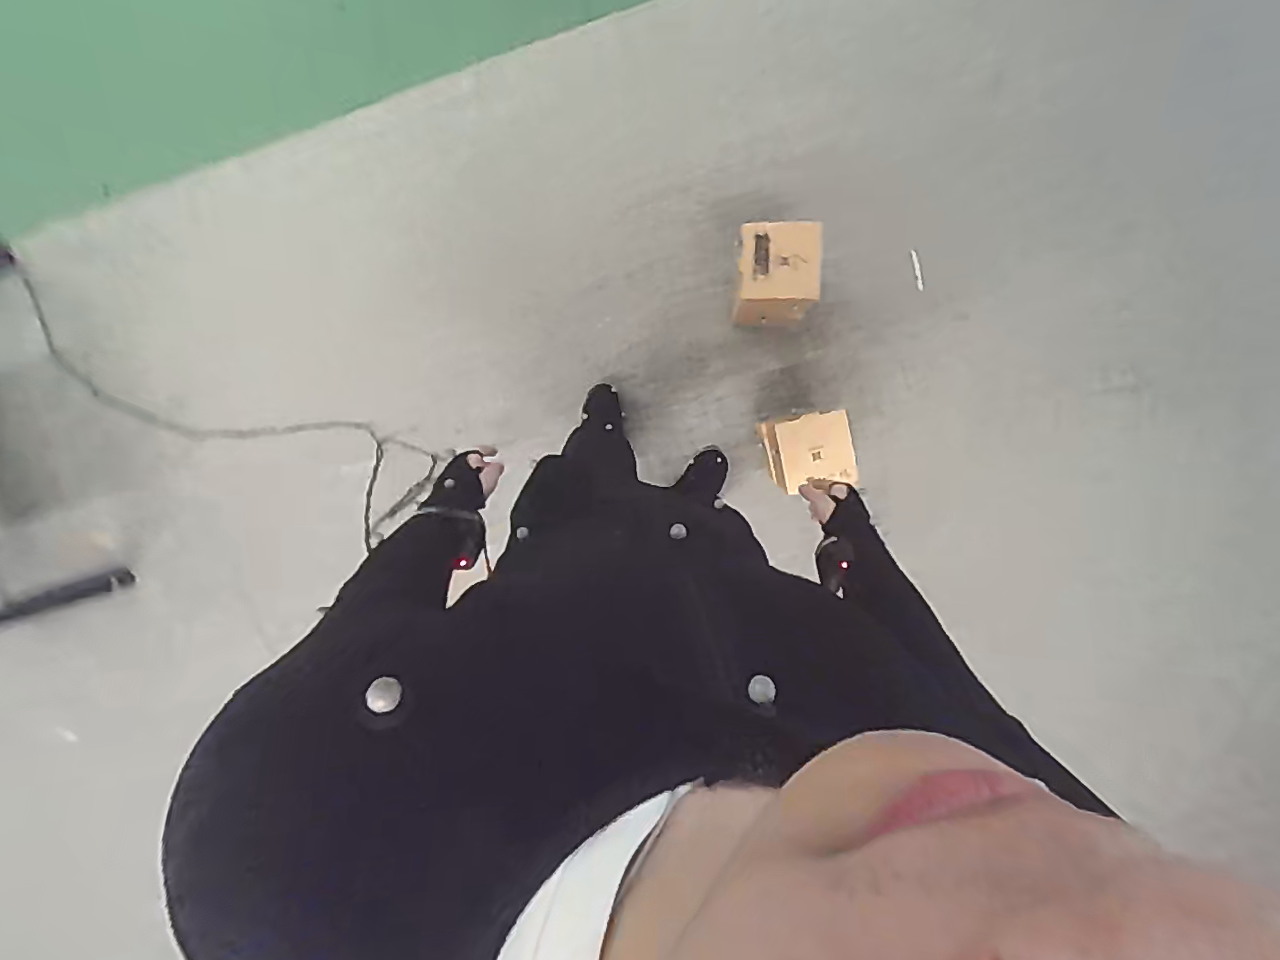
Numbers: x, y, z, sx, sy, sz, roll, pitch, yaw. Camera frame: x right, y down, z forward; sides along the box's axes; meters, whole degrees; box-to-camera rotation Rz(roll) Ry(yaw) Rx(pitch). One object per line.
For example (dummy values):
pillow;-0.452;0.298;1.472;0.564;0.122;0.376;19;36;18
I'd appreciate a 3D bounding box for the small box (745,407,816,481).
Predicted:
small box;0.387;-0.100;1.475;0.179;0.176;0.168;-11;97;6

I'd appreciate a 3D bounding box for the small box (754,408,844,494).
small box;0.378;-0.073;1.313;0.168;0.176;0.179;-10;96;6

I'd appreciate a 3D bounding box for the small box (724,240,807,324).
small box;0.320;-0.513;1.421;0.179;0.176;0.168;8;99;3
